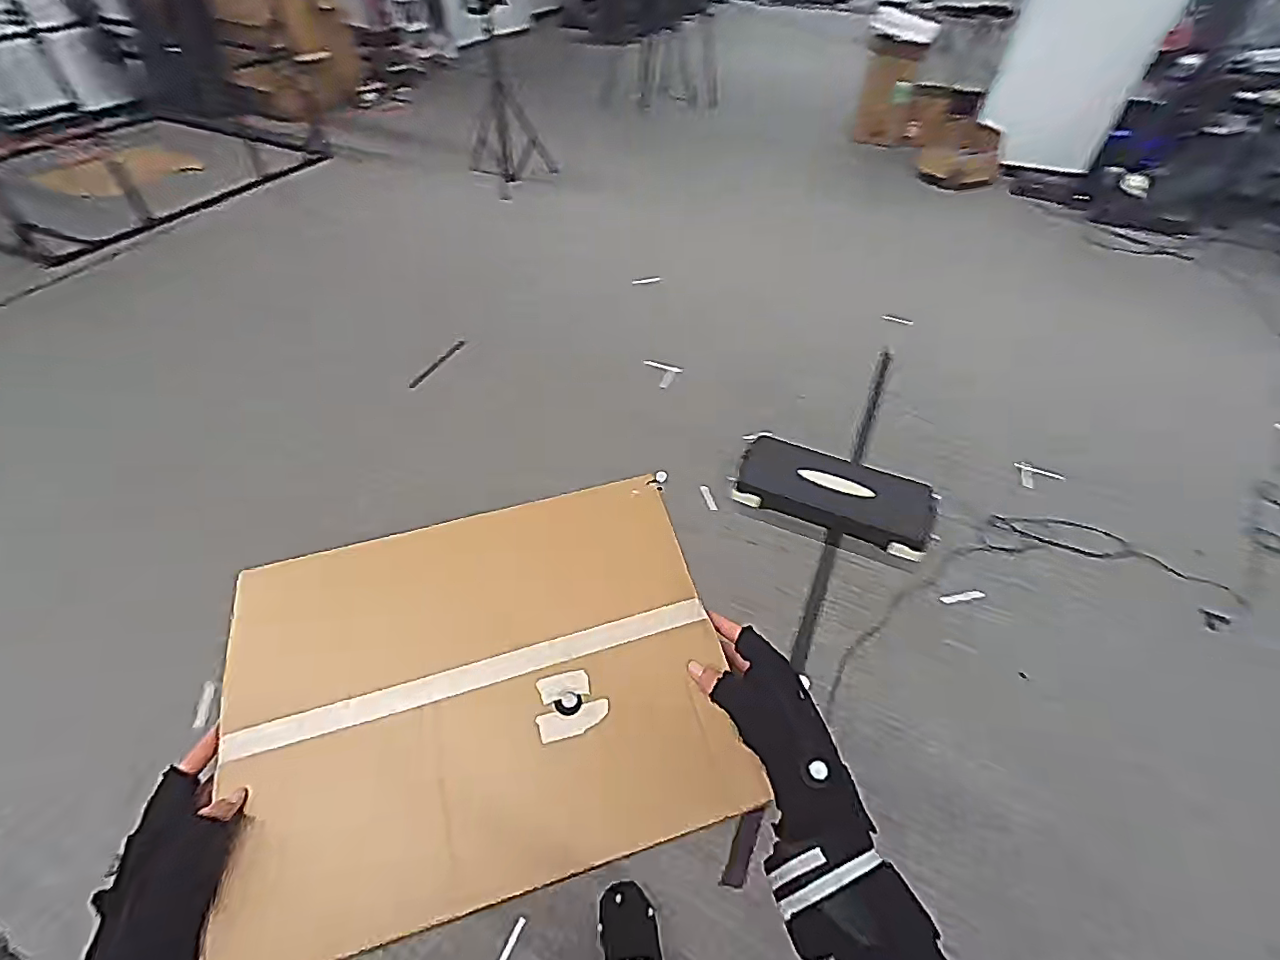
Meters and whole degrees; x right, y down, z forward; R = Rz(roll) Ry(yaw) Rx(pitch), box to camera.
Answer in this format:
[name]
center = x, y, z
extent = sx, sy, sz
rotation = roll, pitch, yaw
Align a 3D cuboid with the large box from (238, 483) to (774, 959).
[large box]
center = -0.127, 0.251, 0.597
extent = 0.408, 0.320, 0.320
rotation = -12, 58, -10
